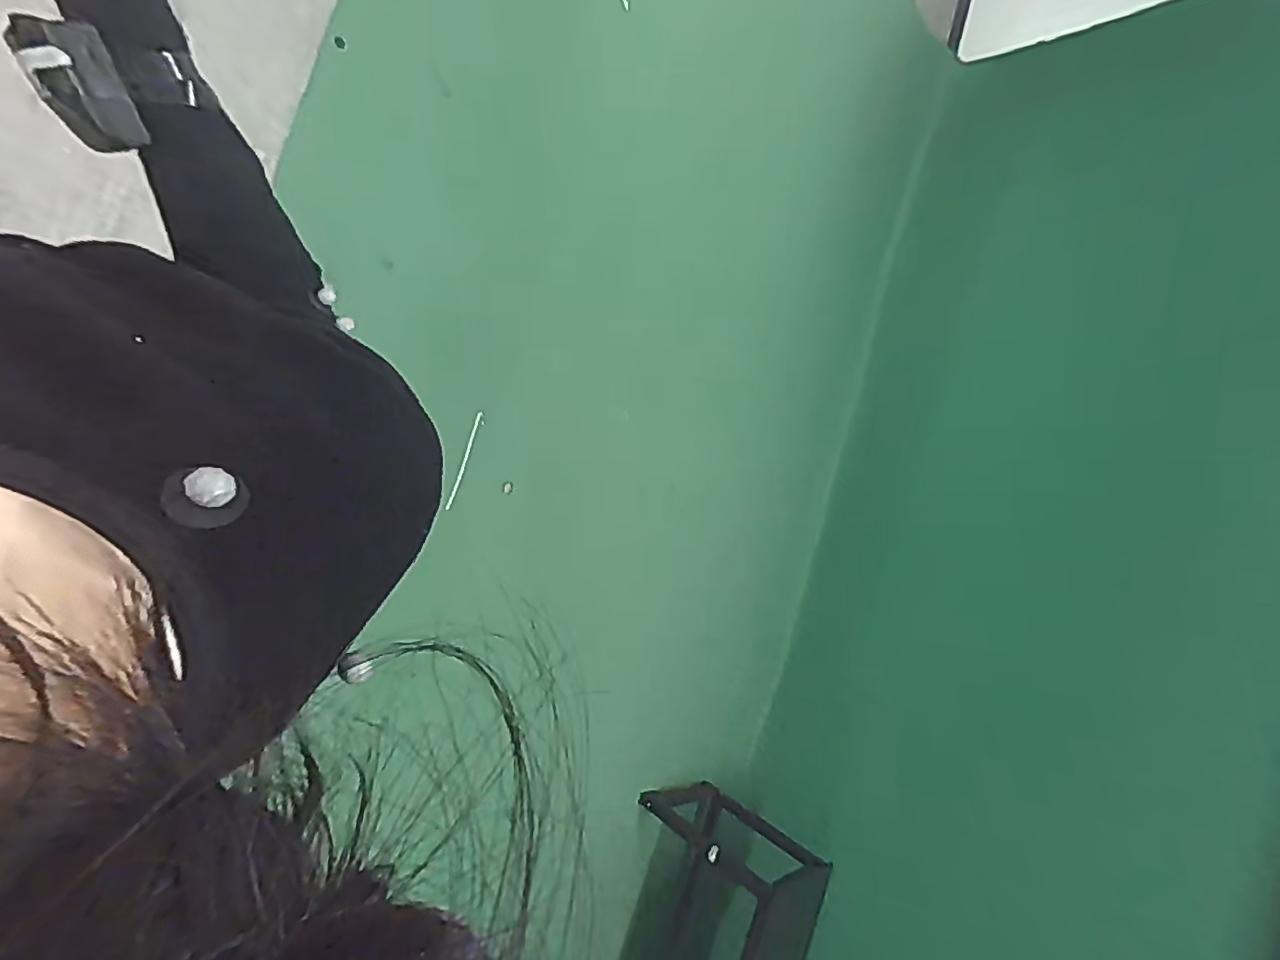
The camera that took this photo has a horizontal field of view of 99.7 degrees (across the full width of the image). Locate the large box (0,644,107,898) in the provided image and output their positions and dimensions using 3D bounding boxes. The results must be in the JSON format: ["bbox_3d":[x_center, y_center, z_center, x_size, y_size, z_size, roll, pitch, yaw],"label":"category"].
[{"bbox_3d":[-1.195,0.515,0.915,0.408,0.320,0.320,0,100,-47],"label":"large box"}]
